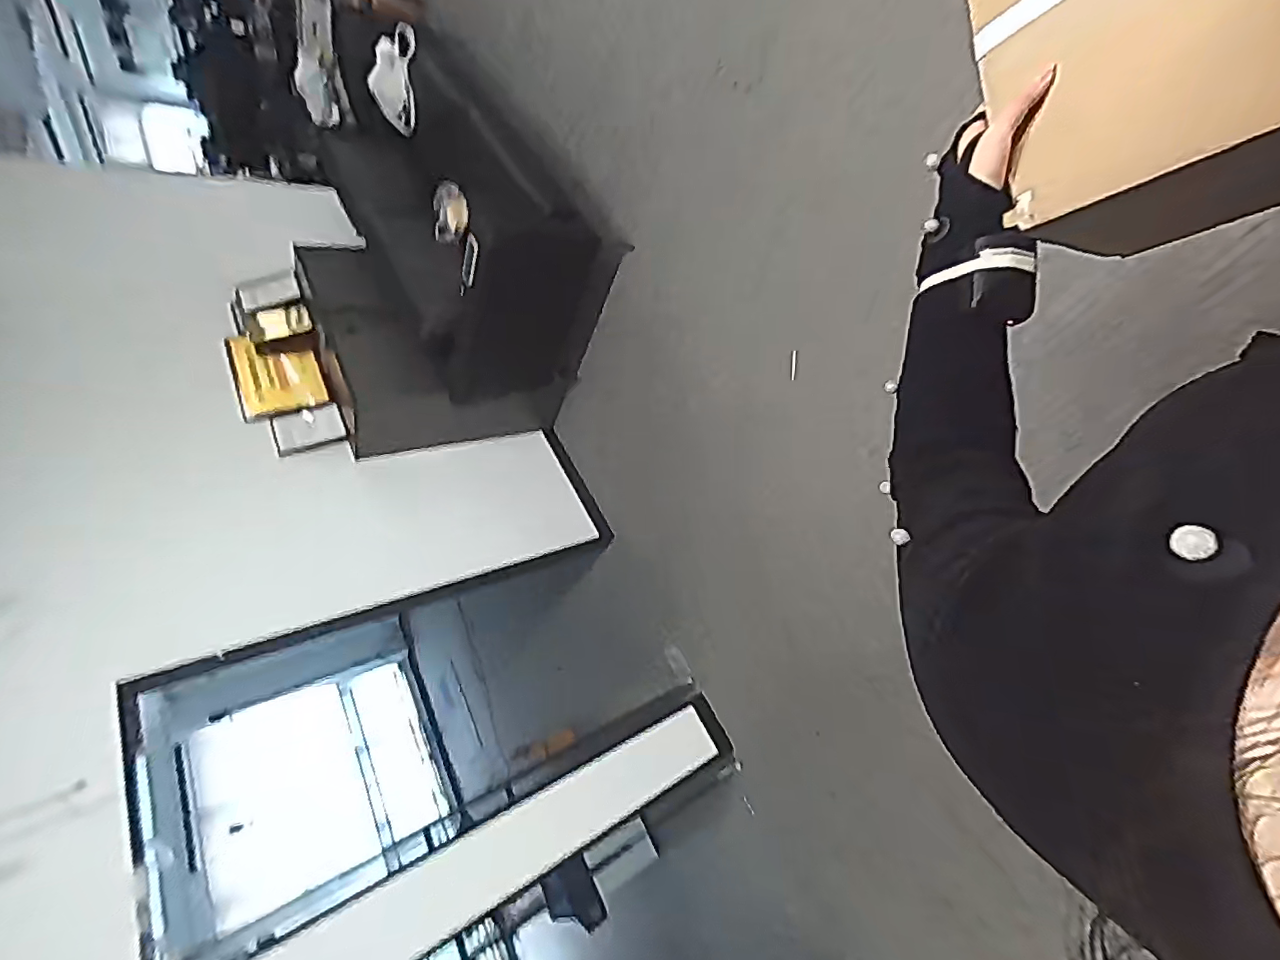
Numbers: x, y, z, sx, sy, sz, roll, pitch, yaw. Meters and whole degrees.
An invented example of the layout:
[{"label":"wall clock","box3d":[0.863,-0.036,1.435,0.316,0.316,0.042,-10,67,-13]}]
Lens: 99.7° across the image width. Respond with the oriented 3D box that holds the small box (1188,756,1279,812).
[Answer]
[{"label":"small box","box3d":[1.200,0.648,1.009,0.179,0.176,0.168,62,142,19]}]
